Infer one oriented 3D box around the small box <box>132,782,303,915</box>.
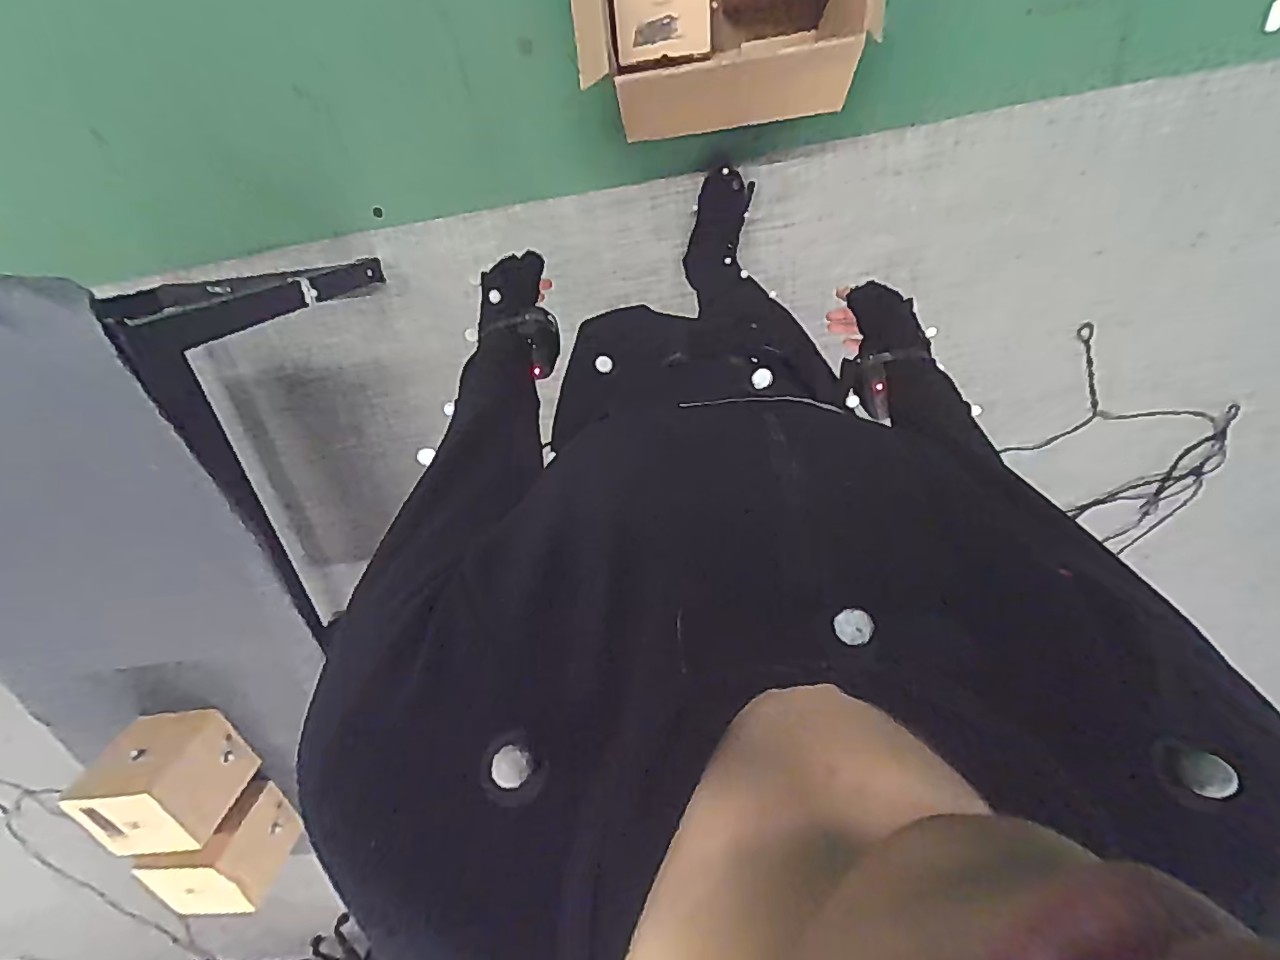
[{"bbox_3d":[-0.833,0.735,1.087,0.179,0.176,0.168,-6,118,6],"label":"small box"}]
